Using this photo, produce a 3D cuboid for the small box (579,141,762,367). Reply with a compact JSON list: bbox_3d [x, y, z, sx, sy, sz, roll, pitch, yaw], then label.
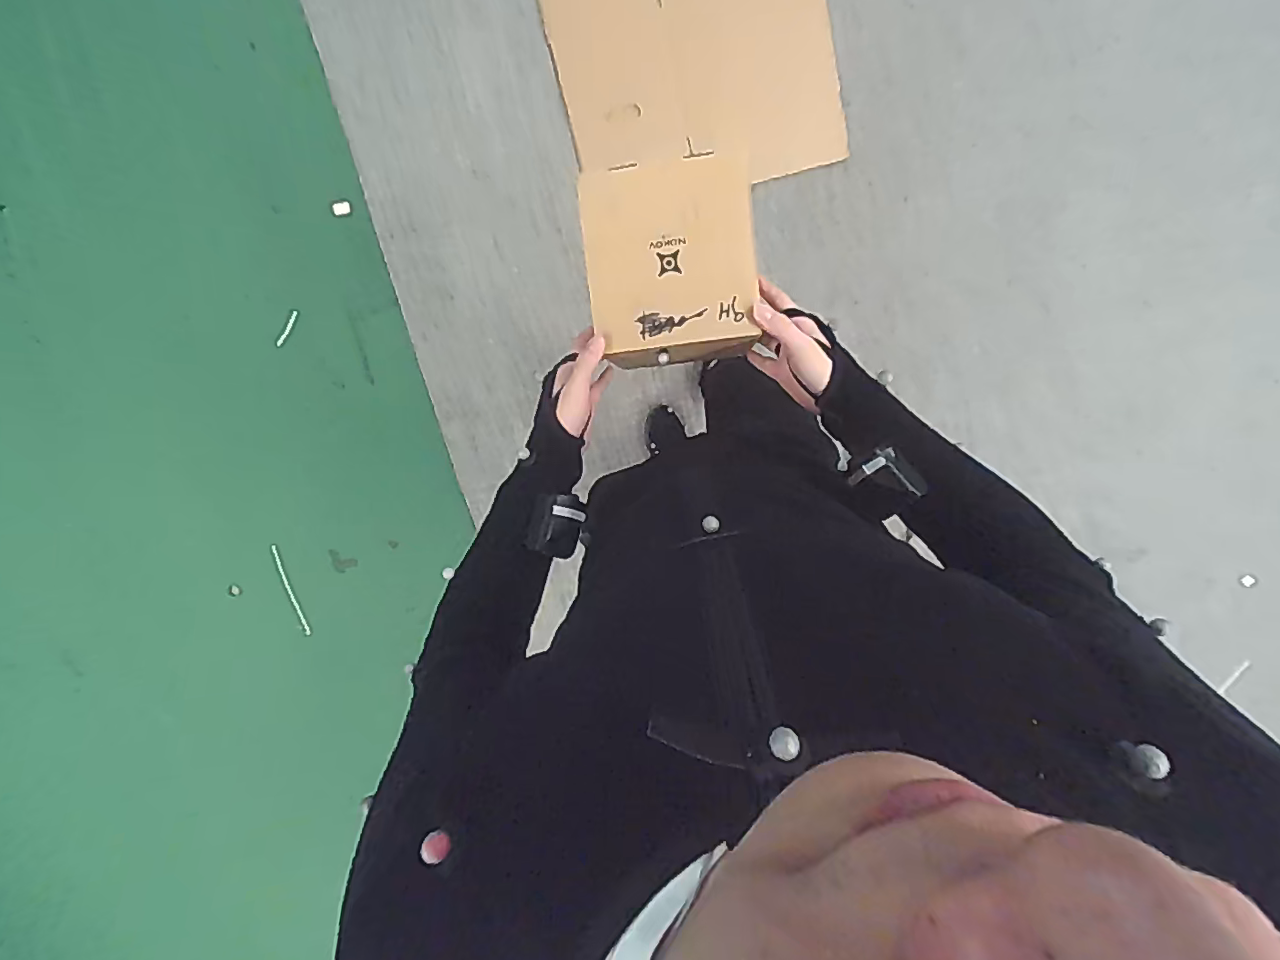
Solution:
[{"bbox_3d":[0.038,-0.229,0.595,0.168,0.176,0.179,-5,95,8],"label":"small box"}]
